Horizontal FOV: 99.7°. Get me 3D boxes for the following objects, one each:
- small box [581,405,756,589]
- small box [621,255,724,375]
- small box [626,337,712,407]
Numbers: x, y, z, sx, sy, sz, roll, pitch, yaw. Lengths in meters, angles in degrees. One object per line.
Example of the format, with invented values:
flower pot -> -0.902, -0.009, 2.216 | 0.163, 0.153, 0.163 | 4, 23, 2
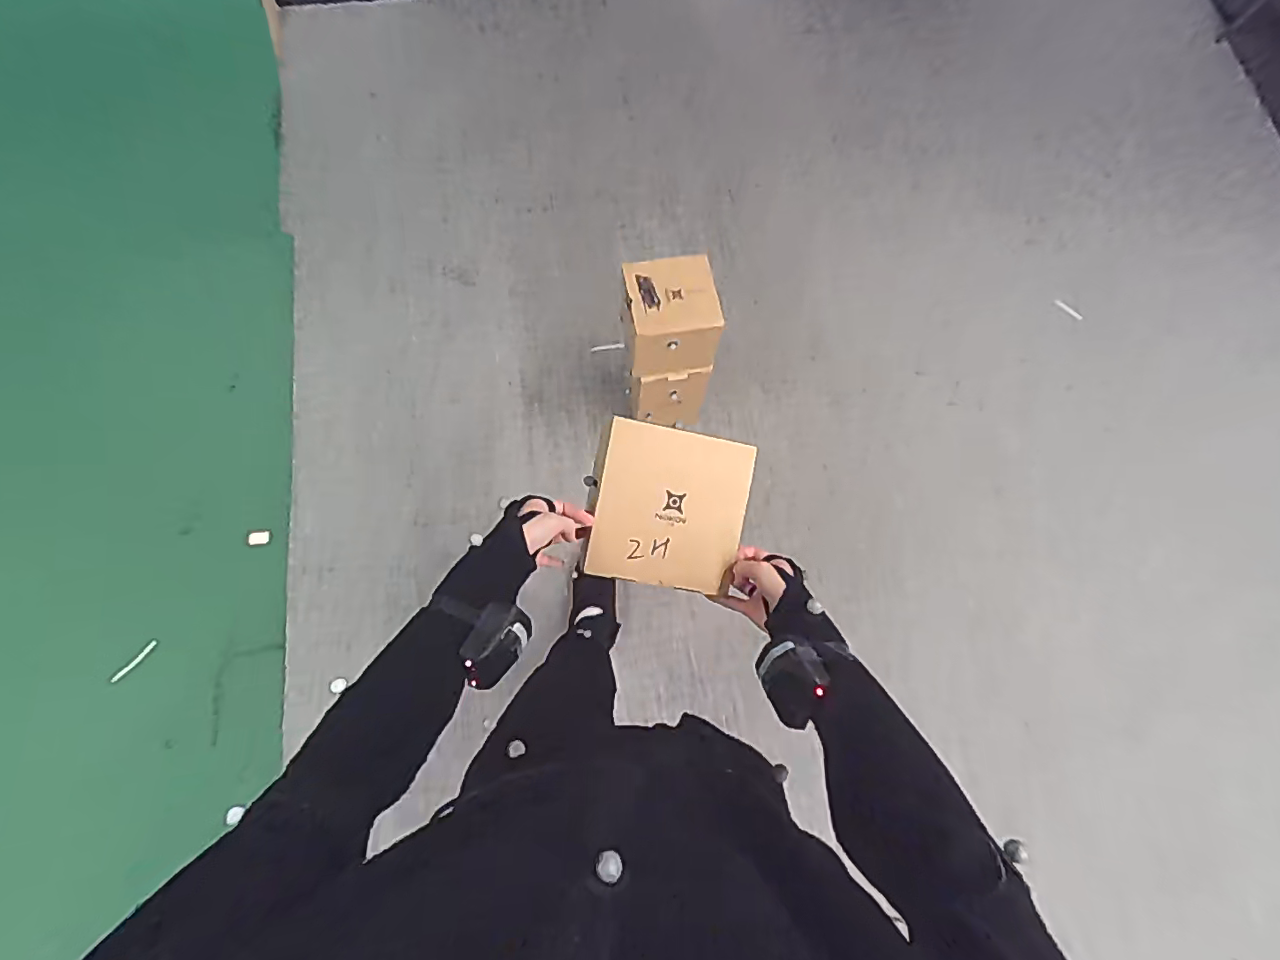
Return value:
small box -> 0.022, 0.017, 0.667 | 0.168, 0.176, 0.179 | 12, 92, -8
small box -> 0.059, -0.332, 1.115 | 0.179, 0.176, 0.168 | -9, 74, -6
small box -> 0.061, -0.282, 1.273 | 0.168, 0.176, 0.179 | -10, 75, -6
